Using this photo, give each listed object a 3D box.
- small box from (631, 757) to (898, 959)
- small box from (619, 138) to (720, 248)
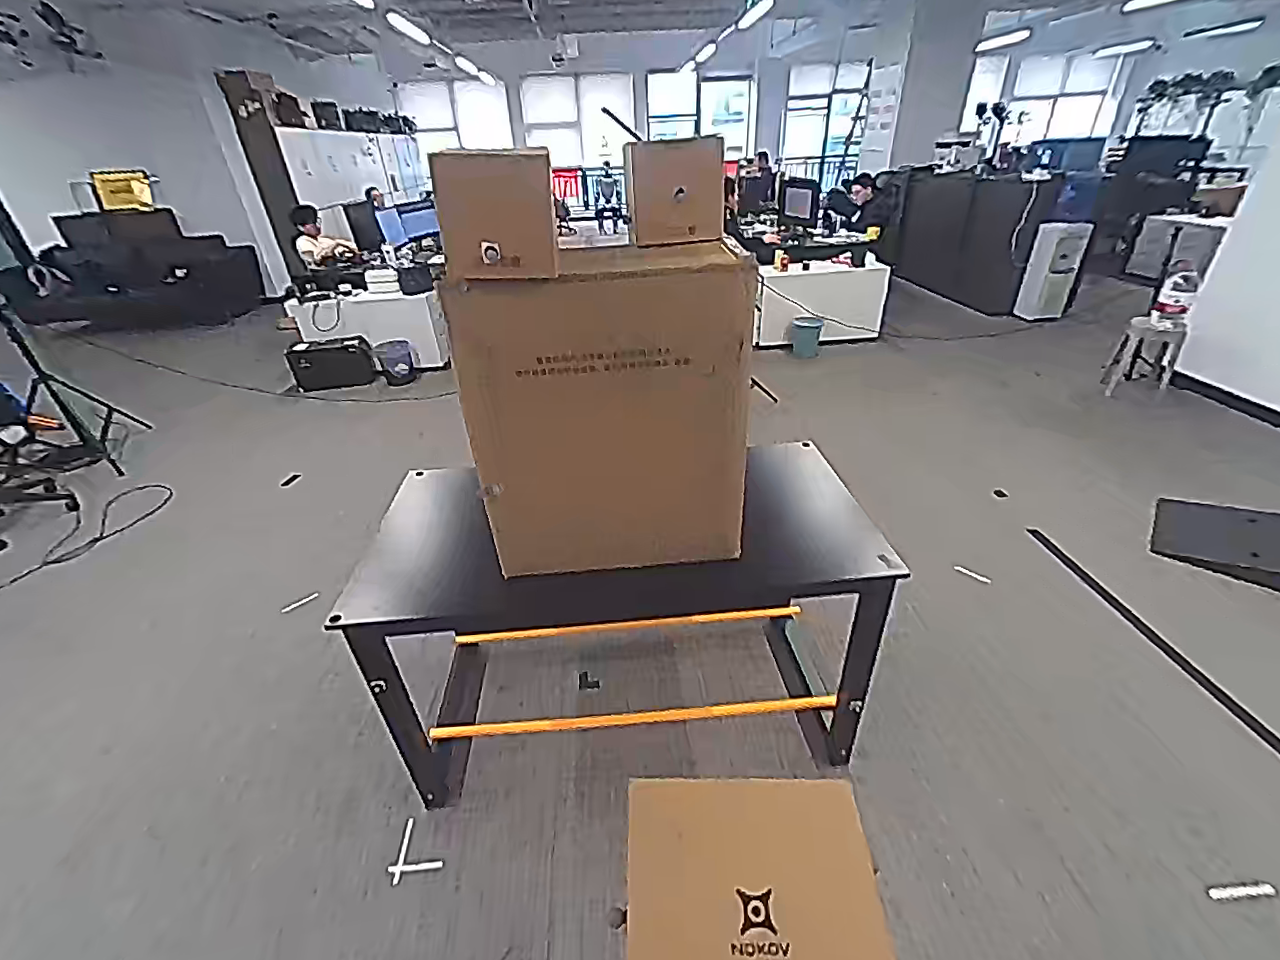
[{"bbox_3d":[0.077,0.331,0.405,0.168,0.176,0.179,-1,43,1],"label":"small box"},{"bbox_3d":[0.056,-0.548,1.038,0.168,0.176,0.179,-7,31,-4],"label":"small box"}]
